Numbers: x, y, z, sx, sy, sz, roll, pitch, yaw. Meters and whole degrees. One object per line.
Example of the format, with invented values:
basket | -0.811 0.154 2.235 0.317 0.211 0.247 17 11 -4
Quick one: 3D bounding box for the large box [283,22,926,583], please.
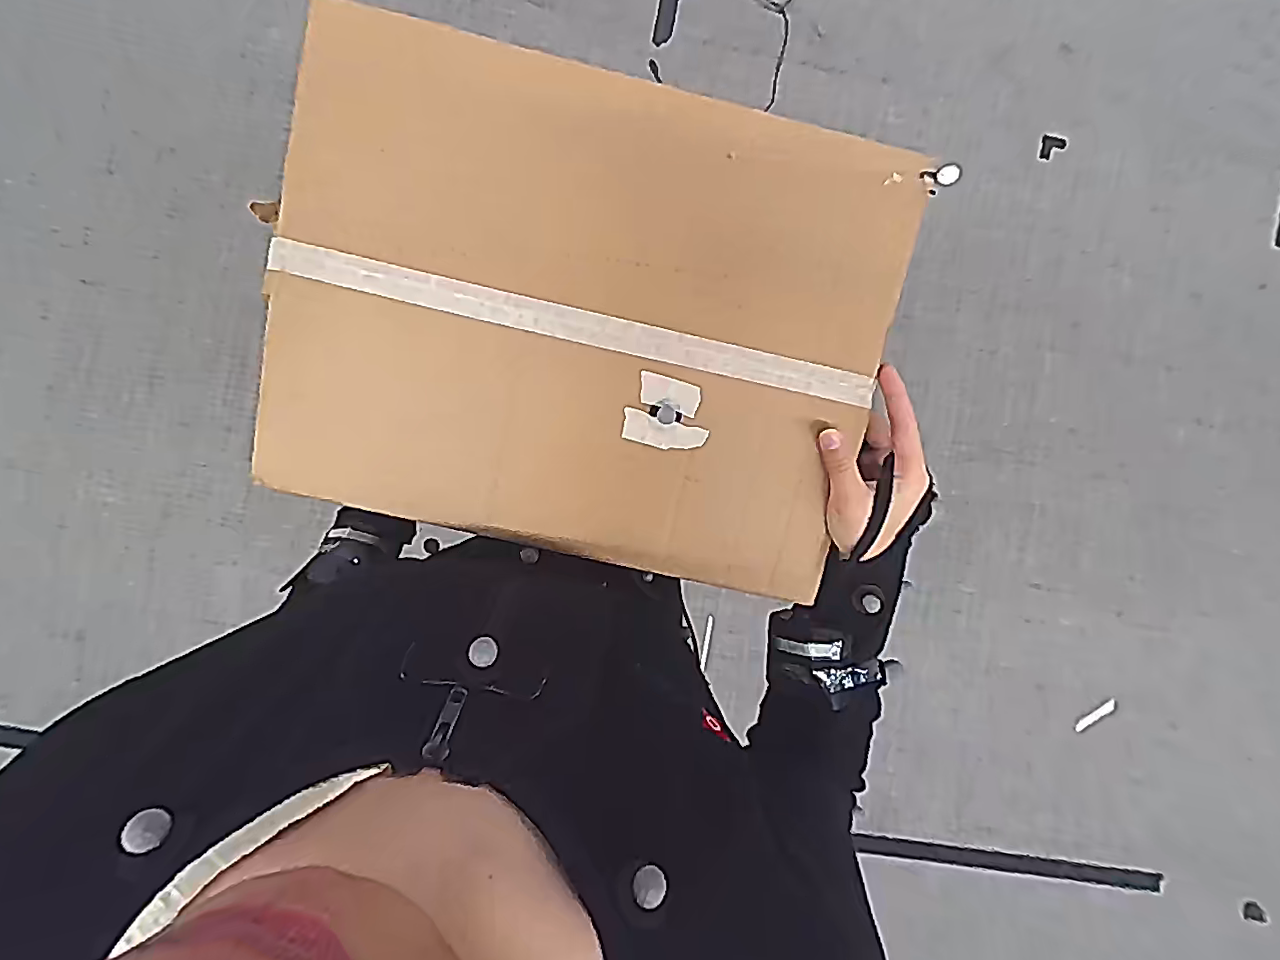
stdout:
large box | -0.035 -0.127 0.519 0.408 0.320 0.320 12 99 -4
